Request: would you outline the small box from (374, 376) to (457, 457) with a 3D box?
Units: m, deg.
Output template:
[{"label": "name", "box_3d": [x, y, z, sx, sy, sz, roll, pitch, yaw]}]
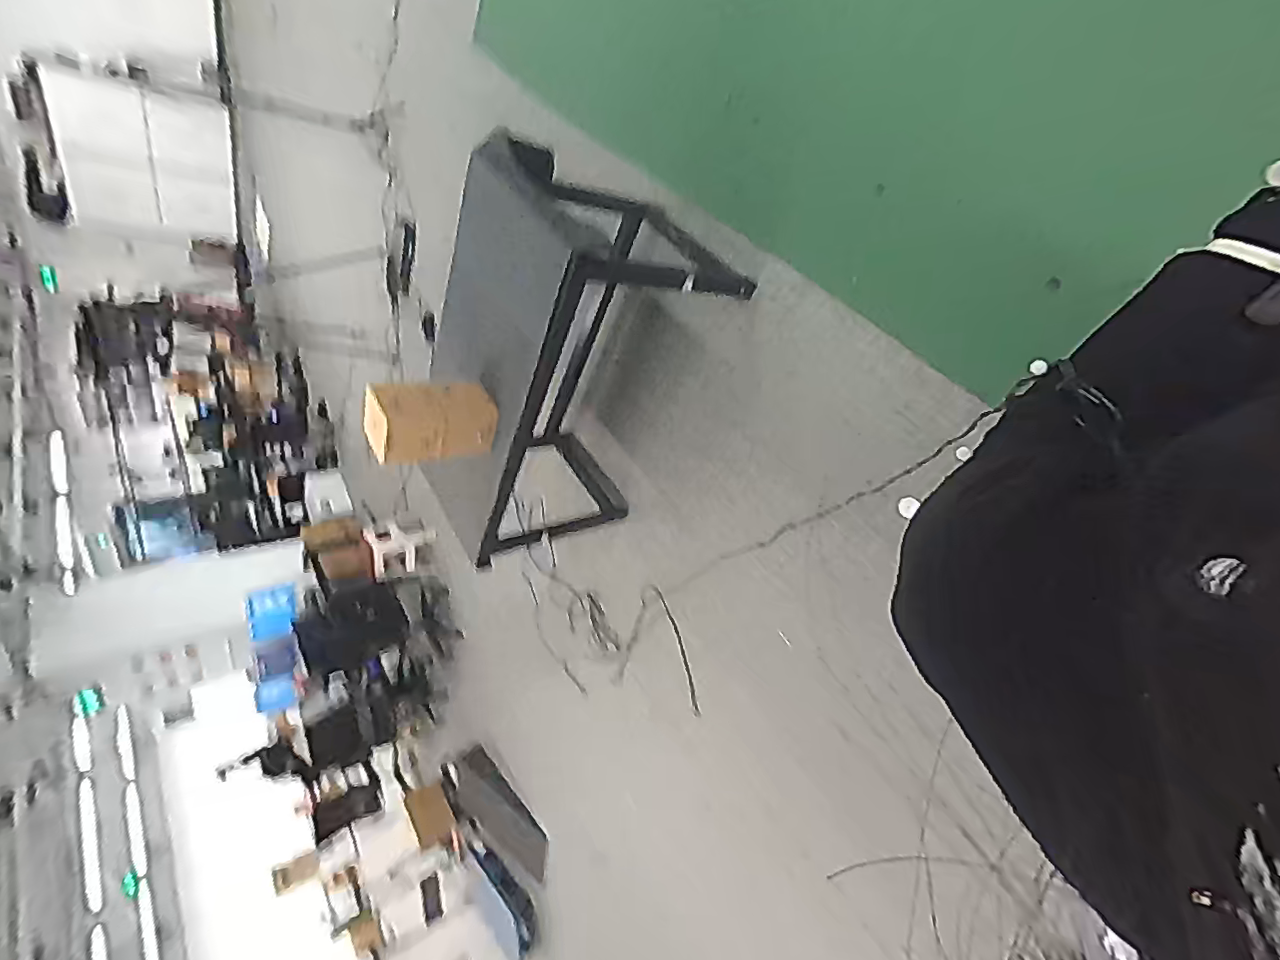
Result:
[{"label": "small box", "box_3d": [-0.660, -0.189, 1.586, 0.179, 0.176, 0.168, 51, 133, 29]}]

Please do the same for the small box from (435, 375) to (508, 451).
[{"label": "small box", "box_3d": [-0.537, -0.214, 1.689, 0.179, 0.176, 0.168, 51, 134, 29]}]
